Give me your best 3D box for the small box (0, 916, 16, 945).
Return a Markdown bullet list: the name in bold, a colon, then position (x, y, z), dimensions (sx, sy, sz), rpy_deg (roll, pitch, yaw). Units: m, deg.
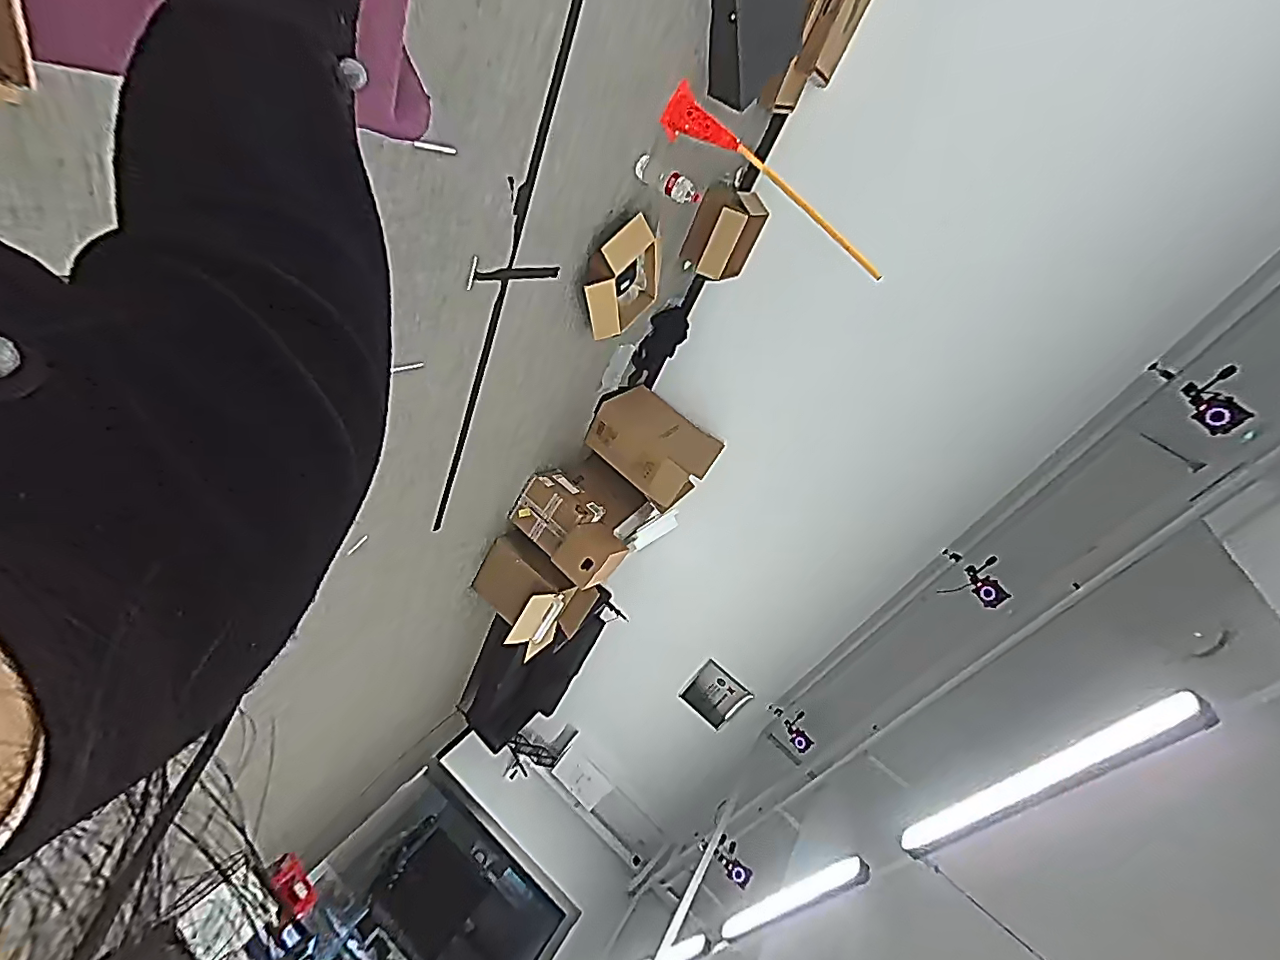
- **small box**: position (-1.686, 1.139, 1.311), dimensions (0.179, 0.176, 0.168), rpy_deg (-33, 159, -56)
